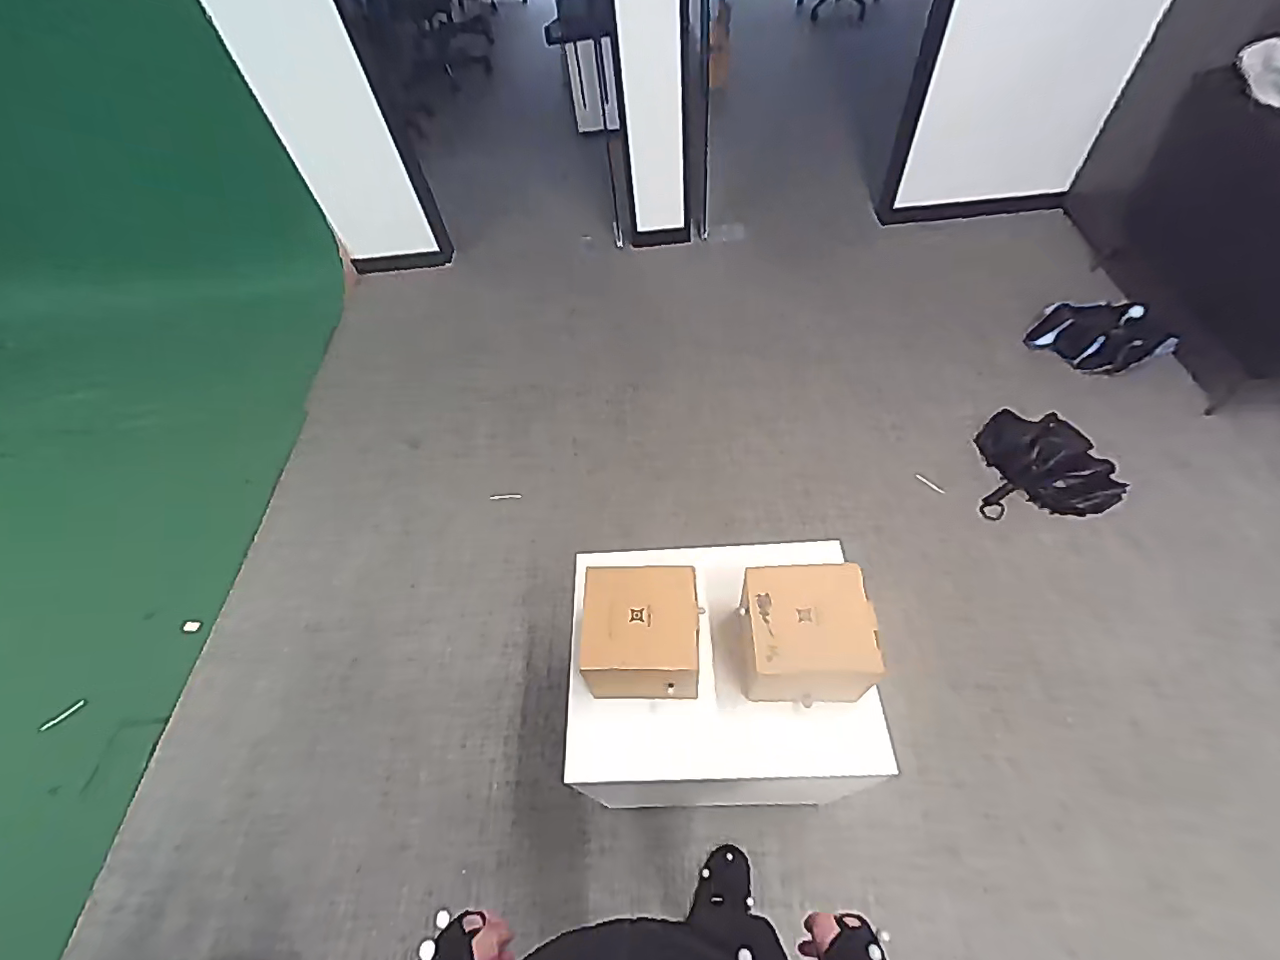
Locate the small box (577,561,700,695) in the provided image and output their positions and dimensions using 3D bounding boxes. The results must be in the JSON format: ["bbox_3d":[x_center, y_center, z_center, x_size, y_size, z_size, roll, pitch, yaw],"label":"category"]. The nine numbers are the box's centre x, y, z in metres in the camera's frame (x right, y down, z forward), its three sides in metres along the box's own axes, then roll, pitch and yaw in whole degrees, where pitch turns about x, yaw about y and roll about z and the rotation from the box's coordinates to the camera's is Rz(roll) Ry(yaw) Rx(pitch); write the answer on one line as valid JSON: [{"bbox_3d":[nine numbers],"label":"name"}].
[{"bbox_3d":[0.002,0.241,0.871,0.179,0.176,0.168,-2,55,3],"label":"small box"}]

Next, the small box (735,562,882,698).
[{"bbox_3d":[0.251,0.239,0.852,0.179,0.176,0.168,-1,56,3],"label":"small box"}]
